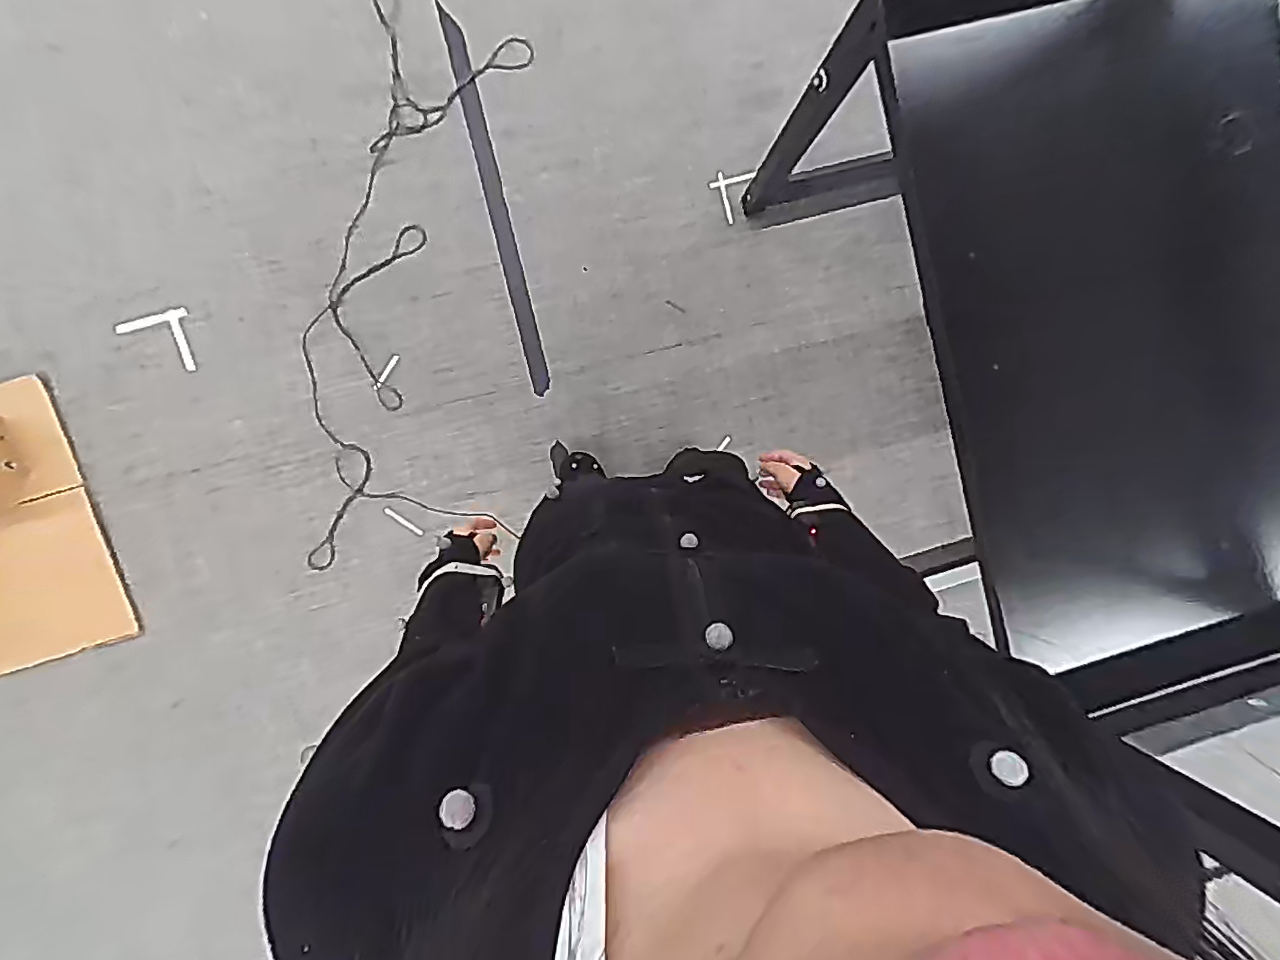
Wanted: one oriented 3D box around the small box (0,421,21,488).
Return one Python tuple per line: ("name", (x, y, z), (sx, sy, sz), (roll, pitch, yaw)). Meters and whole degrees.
("small box", (-1.626, -0.048, 1.260), (0.179, 0.176, 0.168), (-20, 95, -3))
